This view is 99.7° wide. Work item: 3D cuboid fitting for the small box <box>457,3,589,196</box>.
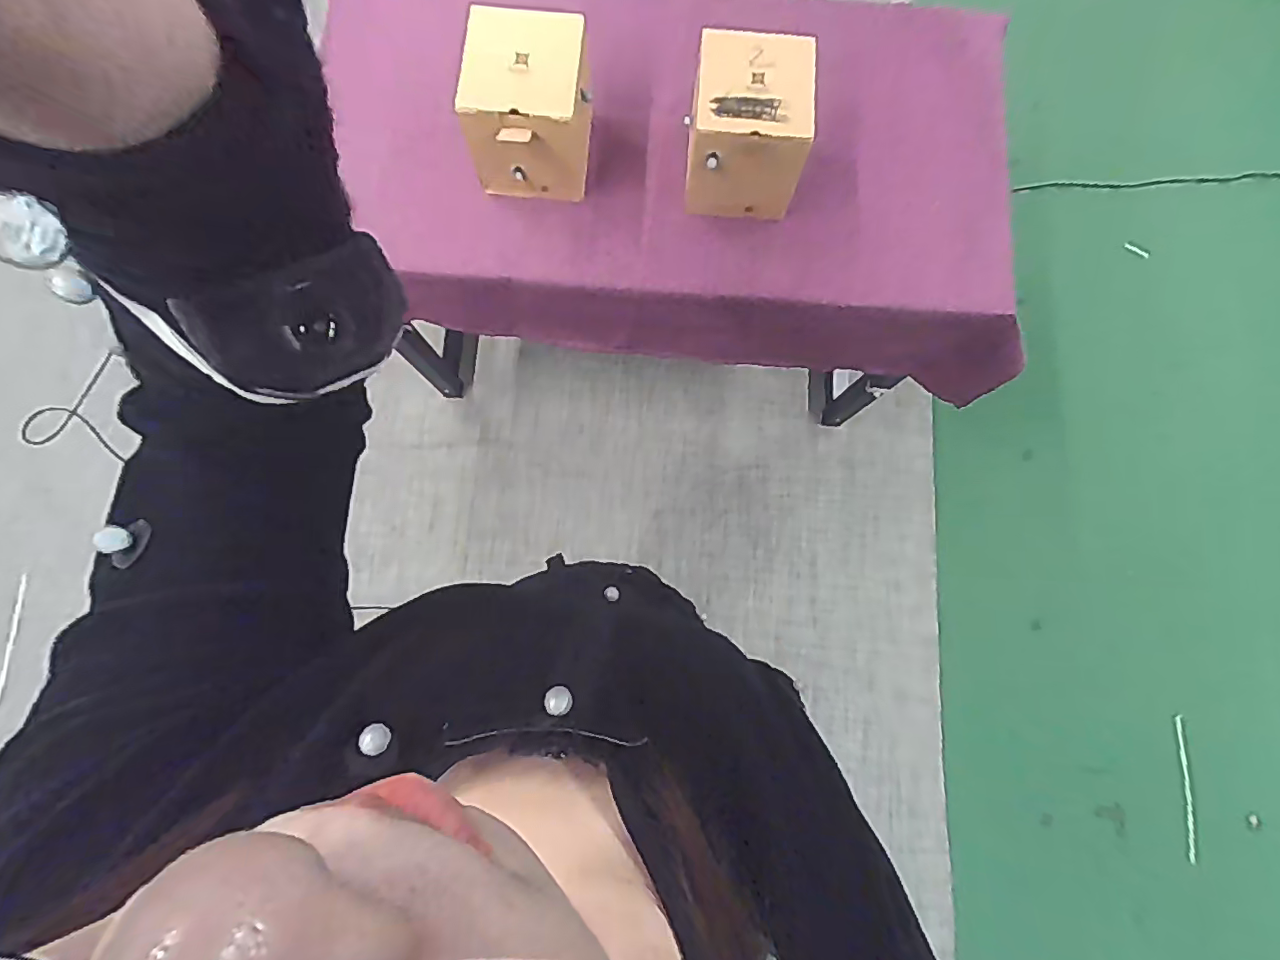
[{"bbox_3d":[-0.171,-0.586,0.850,0.168,0.176,0.179,5,81,-1],"label":"small box"}]
